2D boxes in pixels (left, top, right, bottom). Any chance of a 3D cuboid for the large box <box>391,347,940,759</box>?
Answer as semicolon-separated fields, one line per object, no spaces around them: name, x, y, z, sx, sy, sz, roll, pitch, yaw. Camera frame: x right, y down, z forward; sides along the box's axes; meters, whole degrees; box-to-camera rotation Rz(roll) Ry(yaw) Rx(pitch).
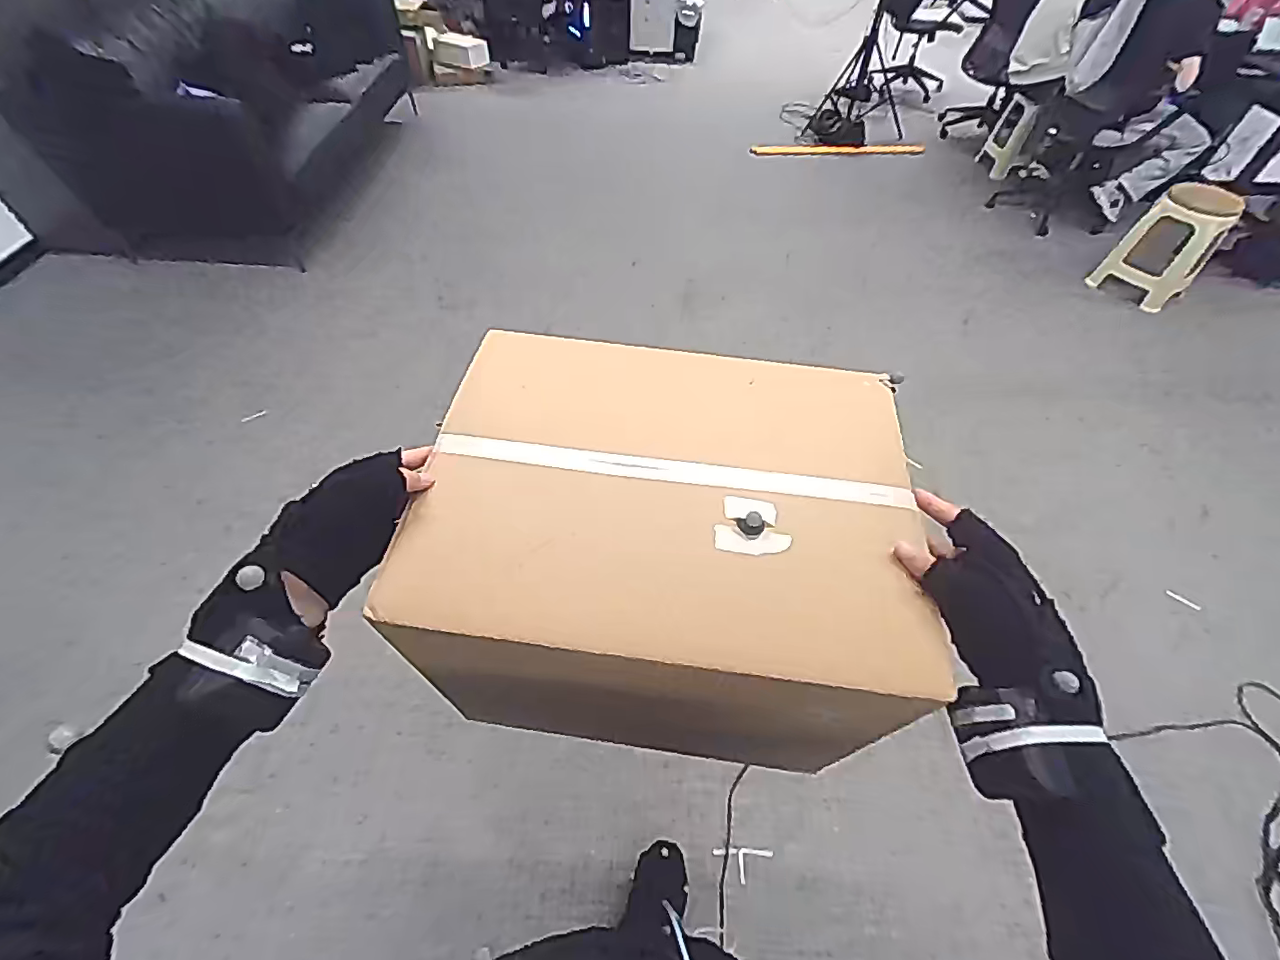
large box;0.024;0.088;0.590;0.408;0.320;0.320;7;55;3
